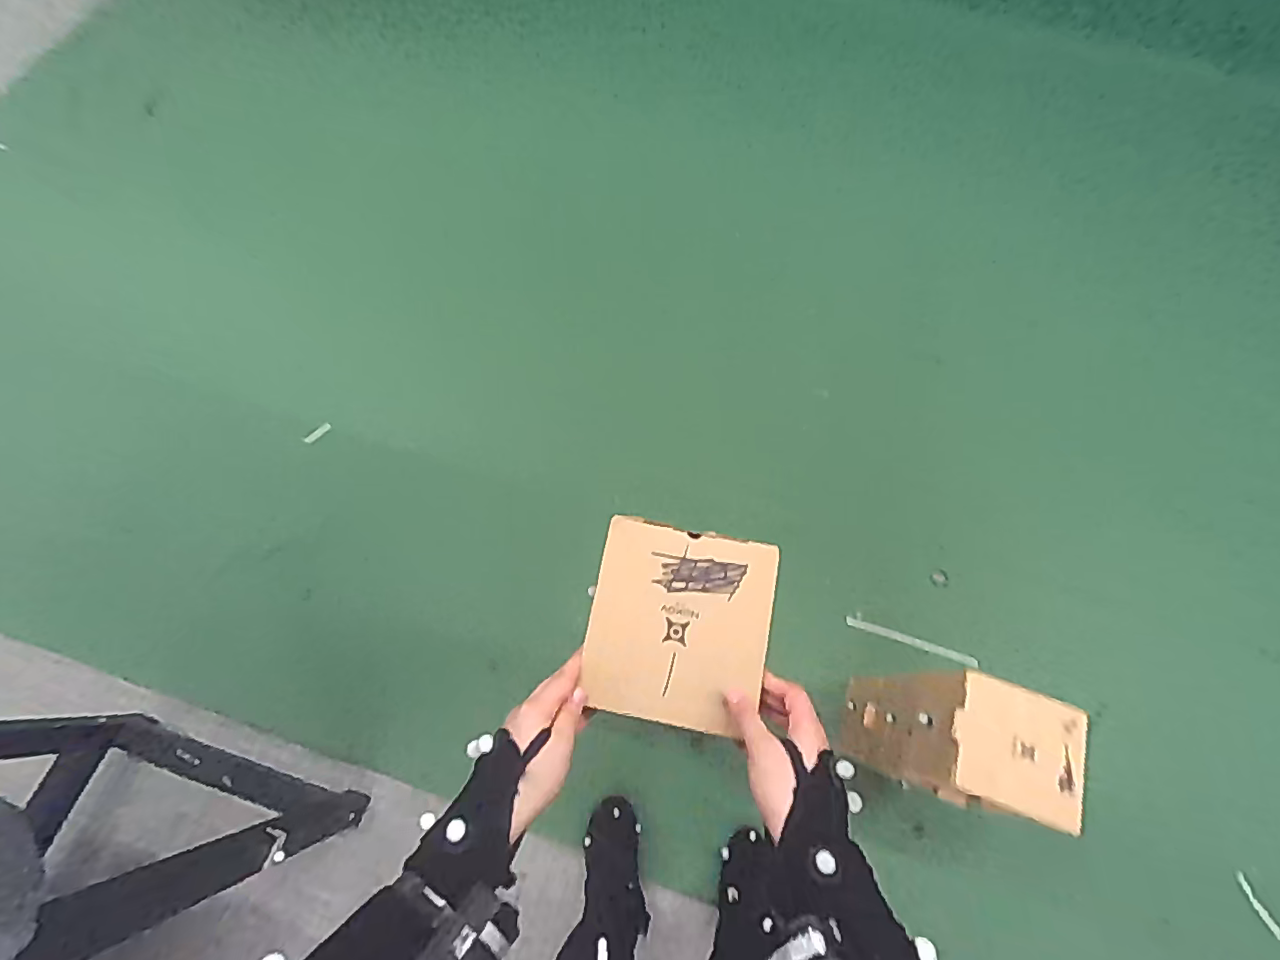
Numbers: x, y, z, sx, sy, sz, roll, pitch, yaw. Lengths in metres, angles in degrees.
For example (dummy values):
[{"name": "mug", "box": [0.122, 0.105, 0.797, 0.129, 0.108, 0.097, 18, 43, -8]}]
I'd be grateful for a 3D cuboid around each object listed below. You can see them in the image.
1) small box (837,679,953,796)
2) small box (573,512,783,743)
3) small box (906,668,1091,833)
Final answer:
[{"name": "small box", "box": [0.548, 0.531, 1.143, 0.179, 0.176, 0.168, 22, 71, 7]}, {"name": "small box", "box": [0.038, 0.147, 0.561, 0.168, 0.176, 0.179, 10, 76, 4]}, {"name": "small box", "box": [0.543, 0.409, 0.839, 0.179, 0.176, 0.168, 20, 70, 7]}]
